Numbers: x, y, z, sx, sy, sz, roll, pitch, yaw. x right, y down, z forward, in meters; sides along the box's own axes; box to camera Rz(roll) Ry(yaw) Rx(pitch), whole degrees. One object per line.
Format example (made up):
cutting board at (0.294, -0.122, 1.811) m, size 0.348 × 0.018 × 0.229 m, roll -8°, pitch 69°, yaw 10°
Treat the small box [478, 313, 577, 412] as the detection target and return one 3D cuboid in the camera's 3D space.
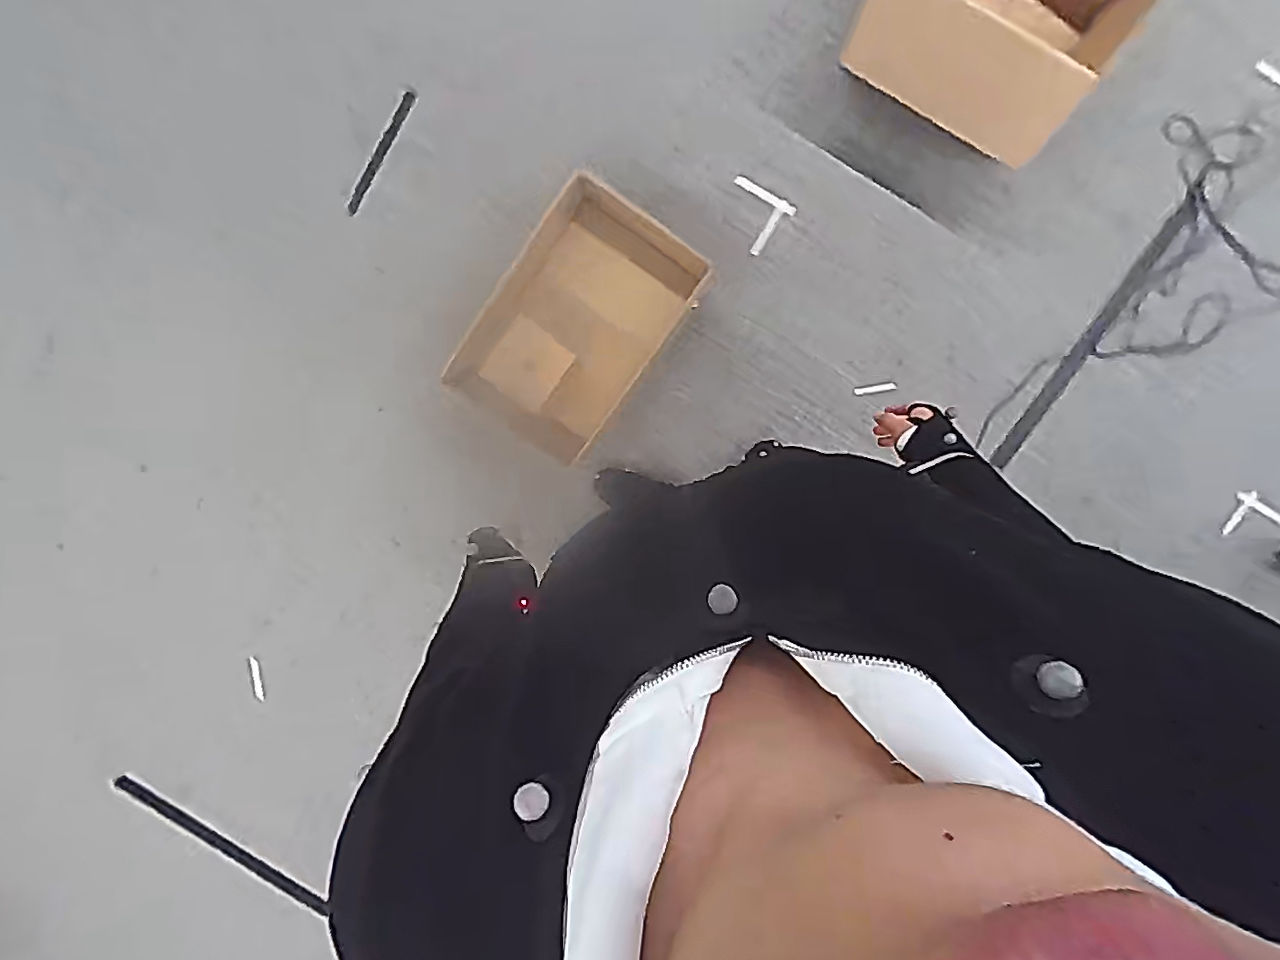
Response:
small box at (-0.271, -0.284, 1.358) m, size 0.168 × 0.176 × 0.179 m, roll 36°, pitch 94°, yaw -4°
